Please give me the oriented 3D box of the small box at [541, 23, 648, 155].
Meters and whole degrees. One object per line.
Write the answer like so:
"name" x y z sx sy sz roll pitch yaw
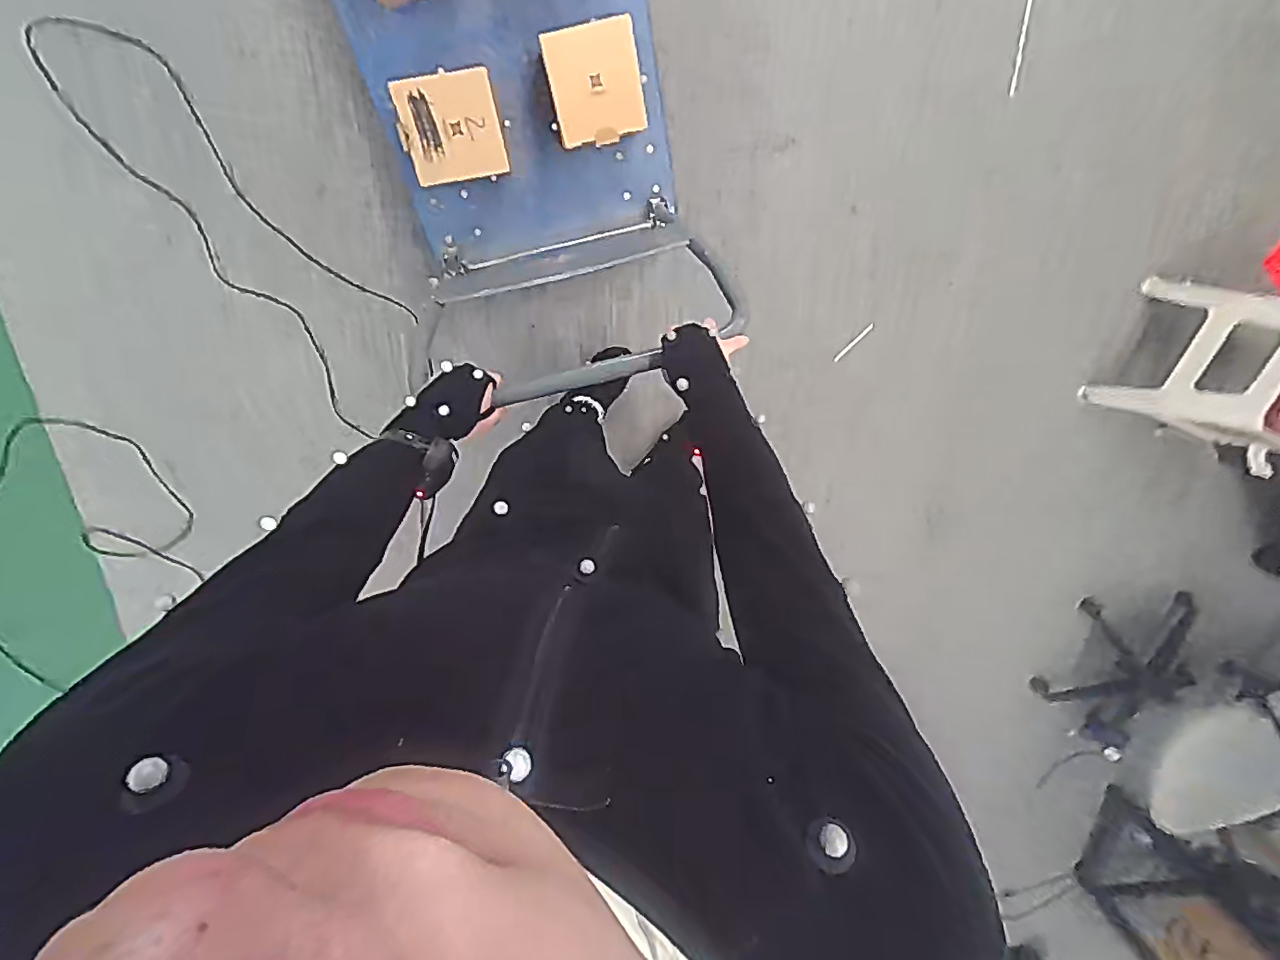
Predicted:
"small box" -0.092 -0.751 1.054 0.168 0.176 0.179 -14 124 -1
